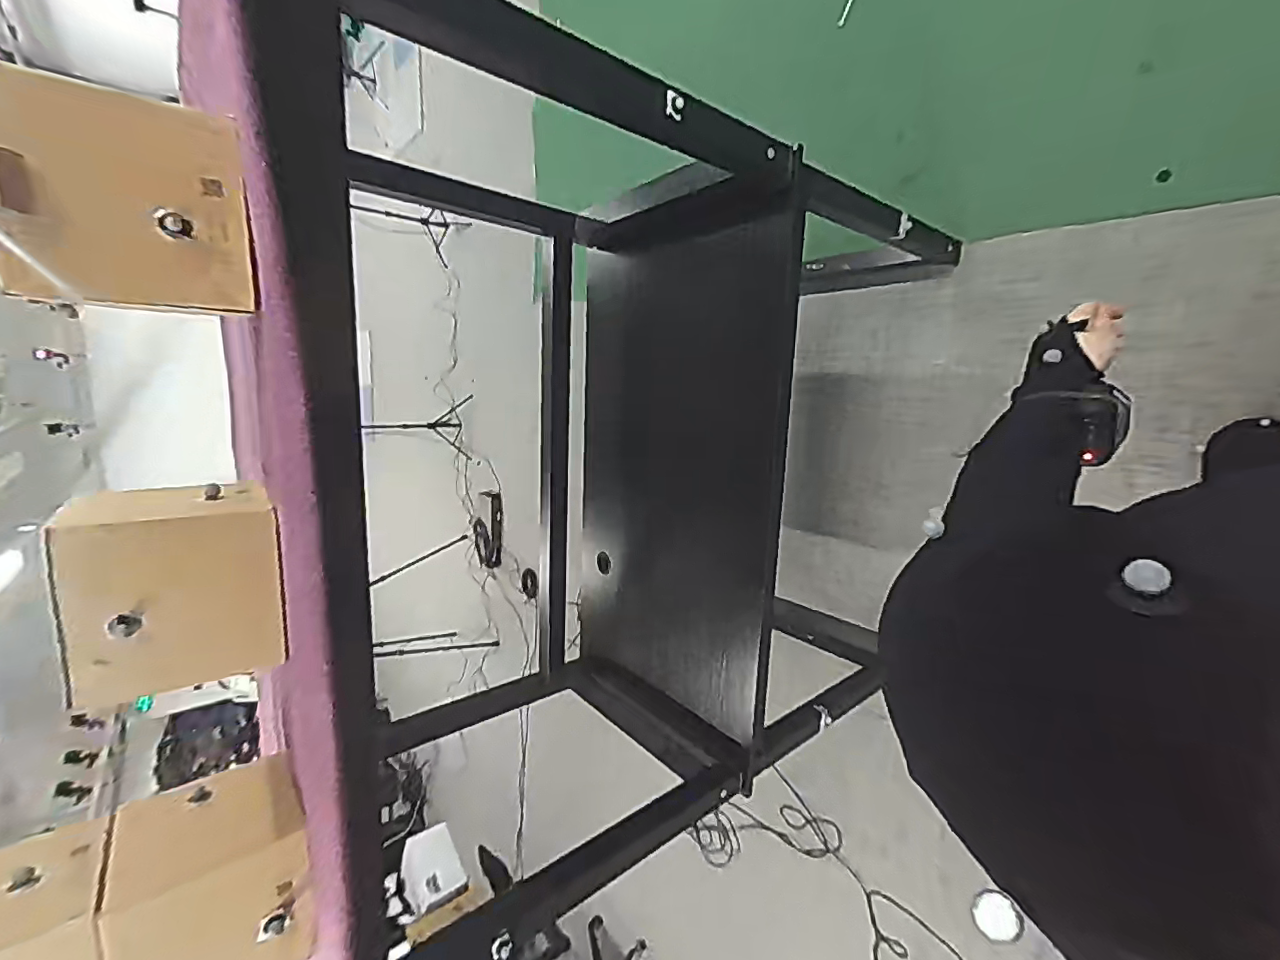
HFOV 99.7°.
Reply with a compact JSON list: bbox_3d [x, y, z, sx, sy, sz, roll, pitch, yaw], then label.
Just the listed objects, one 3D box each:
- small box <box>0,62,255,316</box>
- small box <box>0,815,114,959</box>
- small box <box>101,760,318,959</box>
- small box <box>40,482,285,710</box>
[{"bbox_3d":[-0.476,-0.249,0.513,0.179,0.176,0.168,19,110,50],"label":"small box"},{"bbox_3d":[-0.606,0.474,0.512,0.168,0.176,0.179,7,101,49],"label":"small box"},{"bbox_3d":[-0.479,0.454,0.615,0.179,0.176,0.168,8,102,49],"label":"small box"},{"bbox_3d":[-0.491,0.105,0.582,0.168,0.176,0.179,15,106,50],"label":"small box"}]
